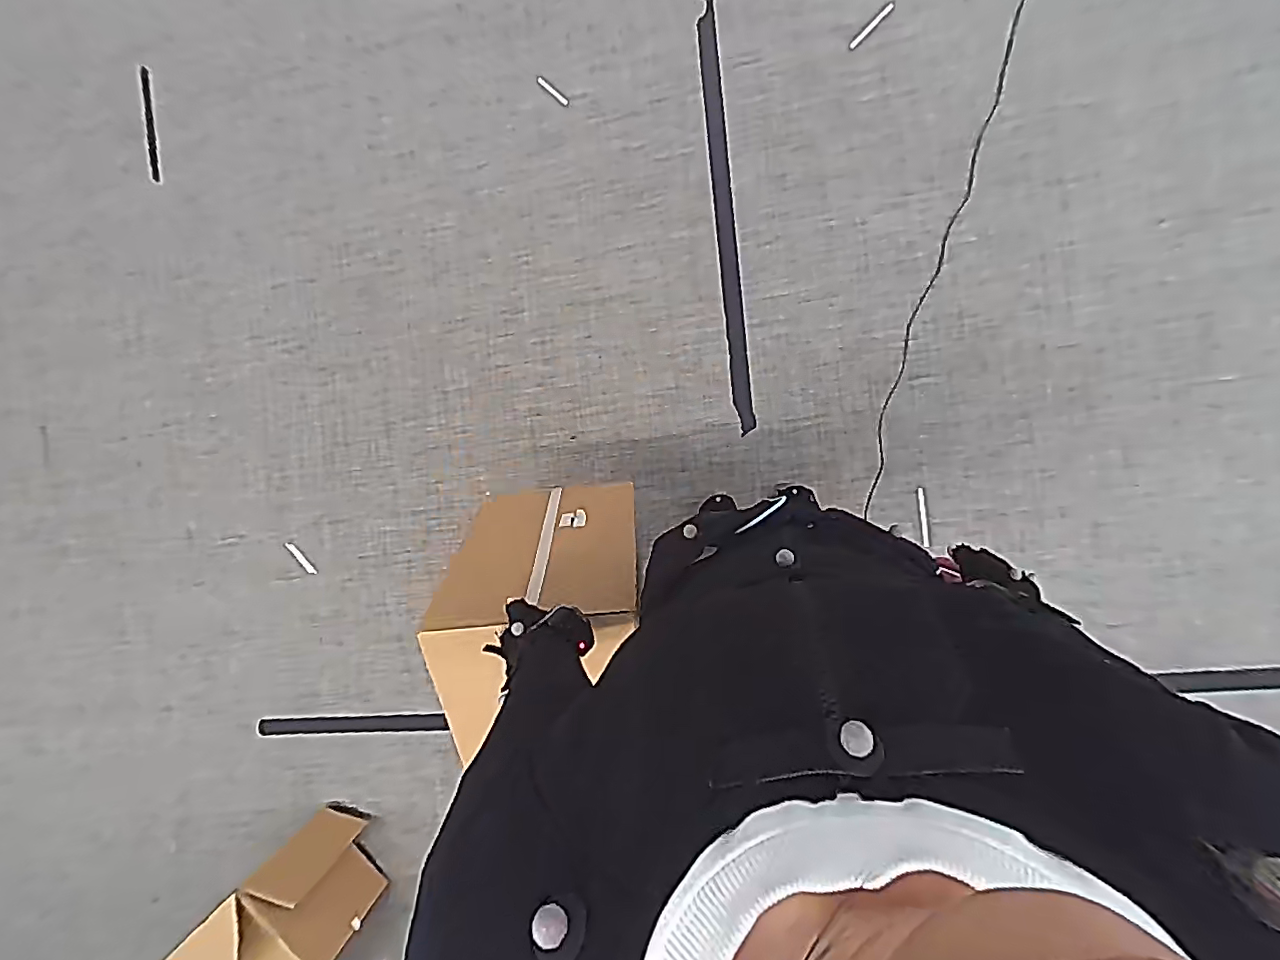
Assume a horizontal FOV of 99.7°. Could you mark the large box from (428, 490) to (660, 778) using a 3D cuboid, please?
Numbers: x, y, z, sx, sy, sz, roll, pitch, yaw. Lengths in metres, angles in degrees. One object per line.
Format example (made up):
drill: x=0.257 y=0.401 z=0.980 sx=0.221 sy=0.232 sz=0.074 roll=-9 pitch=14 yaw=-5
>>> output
large box: x=-0.142 y=0.256 z=0.996 sx=0.320 sy=0.408 sz=0.320 roll=-5 pitch=115 yaw=1
